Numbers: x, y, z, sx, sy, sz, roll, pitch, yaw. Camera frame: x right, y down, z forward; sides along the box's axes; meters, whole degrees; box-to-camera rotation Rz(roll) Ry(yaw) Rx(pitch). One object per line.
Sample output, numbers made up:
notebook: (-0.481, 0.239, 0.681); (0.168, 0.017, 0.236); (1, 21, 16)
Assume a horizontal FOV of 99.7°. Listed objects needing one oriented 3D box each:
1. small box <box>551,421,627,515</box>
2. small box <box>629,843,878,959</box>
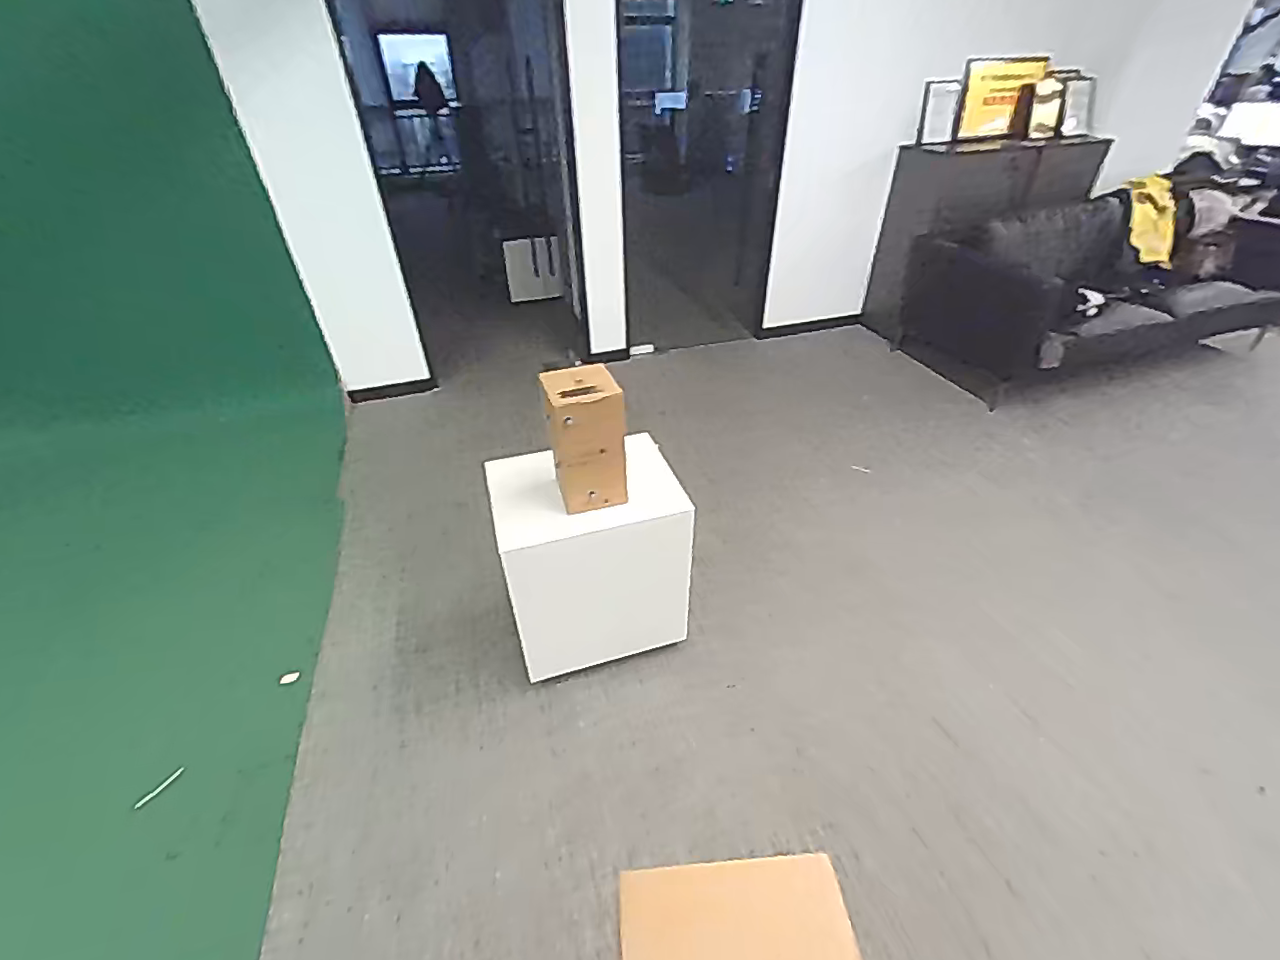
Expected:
small box: (-0.135, -0.033, 1.433); (0.168, 0.176, 0.179); (-12, 38, -14)
small box: (0.078, 0.401, 0.398); (0.168, 0.176, 0.179); (-1, 38, -4)
